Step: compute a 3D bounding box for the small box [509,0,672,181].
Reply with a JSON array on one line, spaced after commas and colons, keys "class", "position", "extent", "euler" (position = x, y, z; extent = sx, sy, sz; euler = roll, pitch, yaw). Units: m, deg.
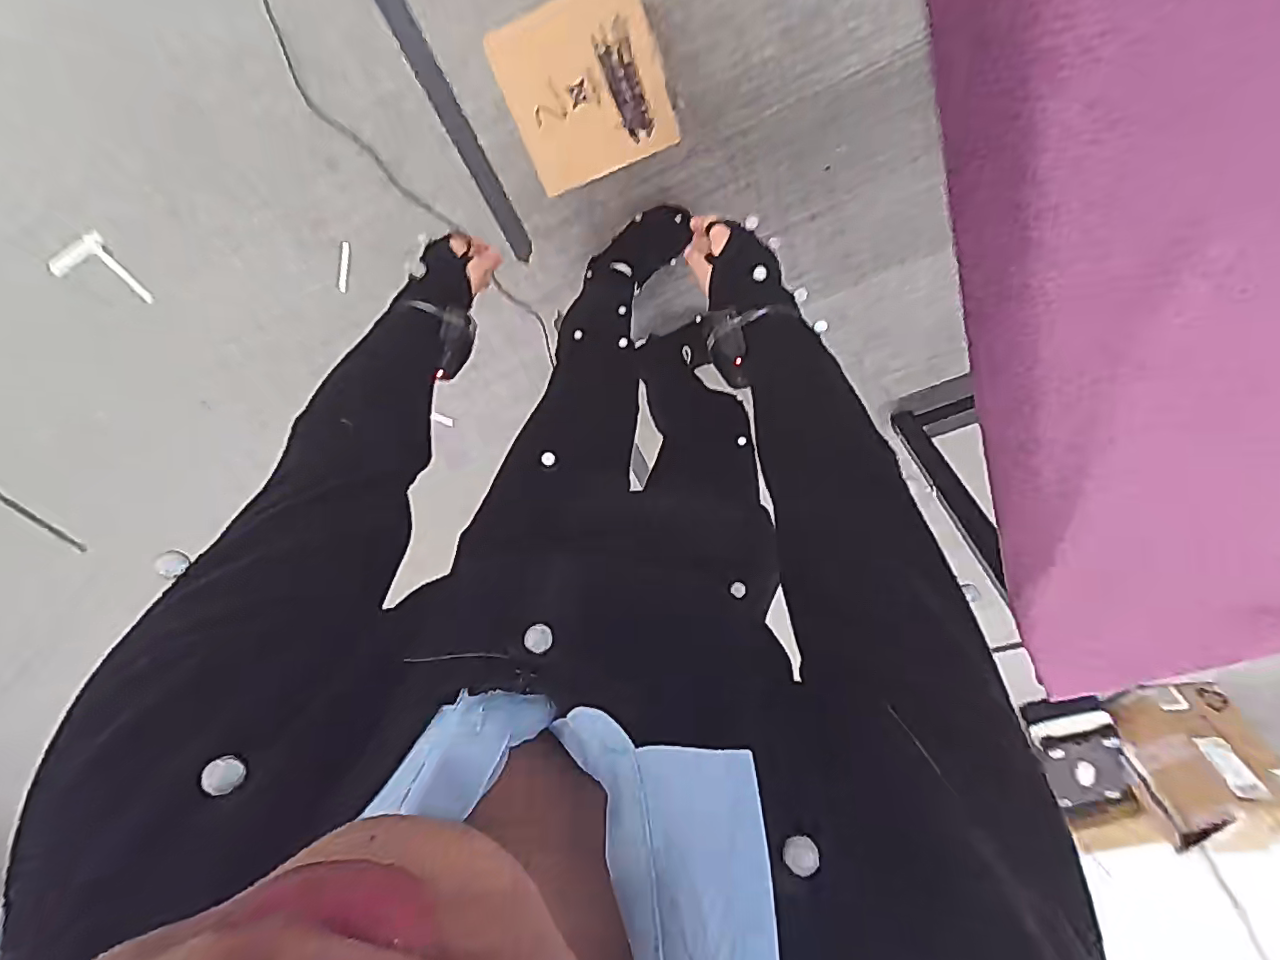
[{"class": "small box", "position": [-0.064, -0.576, 0.795], "extent": [0.179, 0.176, 0.168], "euler": [-18, 126, 15]}]
